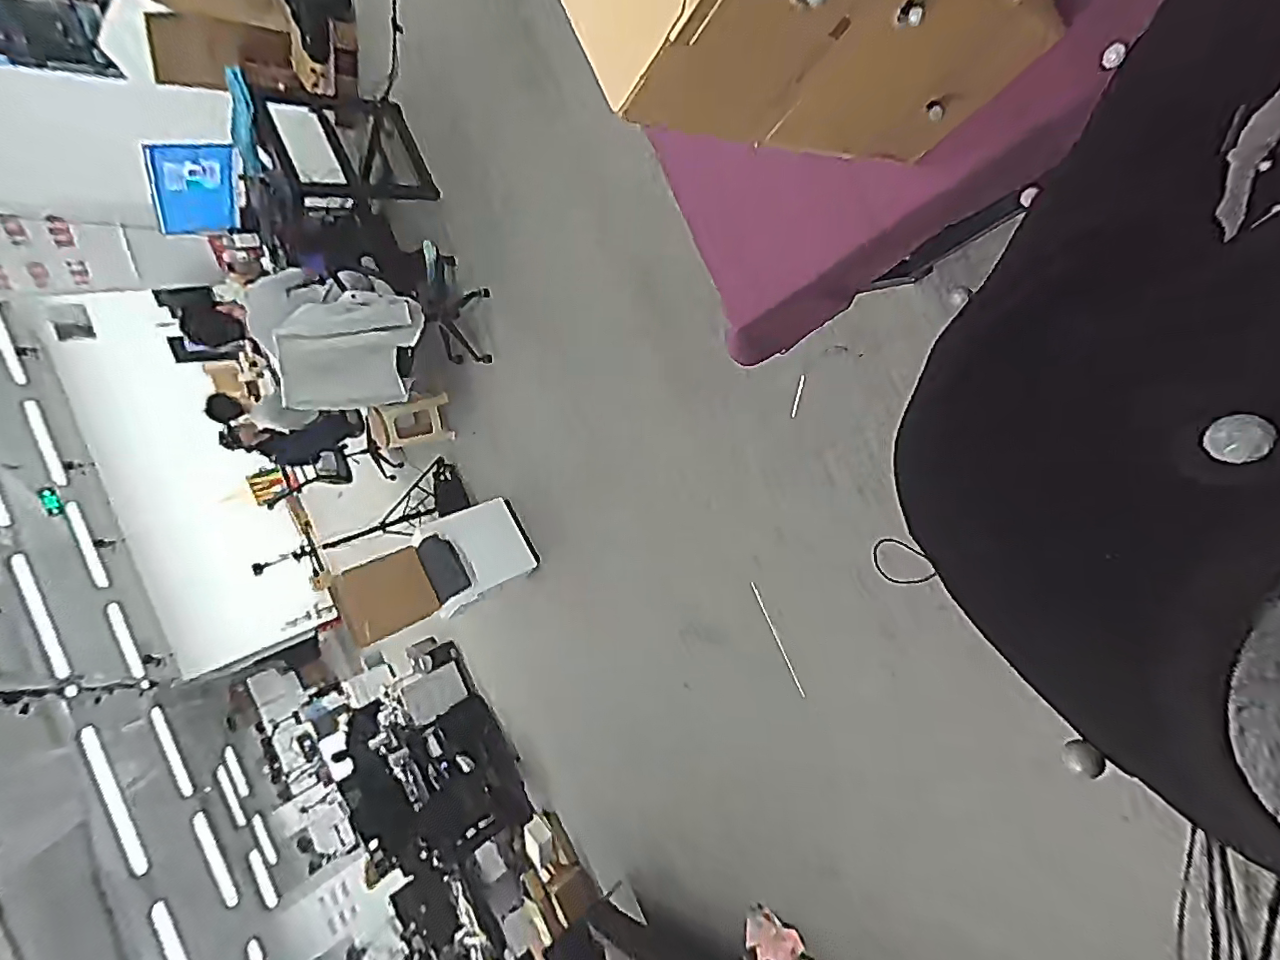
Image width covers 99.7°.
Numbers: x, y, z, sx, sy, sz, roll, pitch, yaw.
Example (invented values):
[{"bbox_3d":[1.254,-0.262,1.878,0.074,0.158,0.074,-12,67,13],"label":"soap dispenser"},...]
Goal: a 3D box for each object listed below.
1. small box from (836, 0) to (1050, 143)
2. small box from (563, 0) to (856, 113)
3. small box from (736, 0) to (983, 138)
[{"bbox_3d":[0.283,-0.490,0.570,0.179,0.176,0.168,-29,86,52],"label":"small box"},{"bbox_3d":[0.049,-0.388,0.368,0.168,0.176,0.179,-26,87,51],"label":"small box"},{"bbox_3d":[0.167,-0.435,0.470,0.179,0.176,0.168,-30,84,51],"label":"small box"}]
